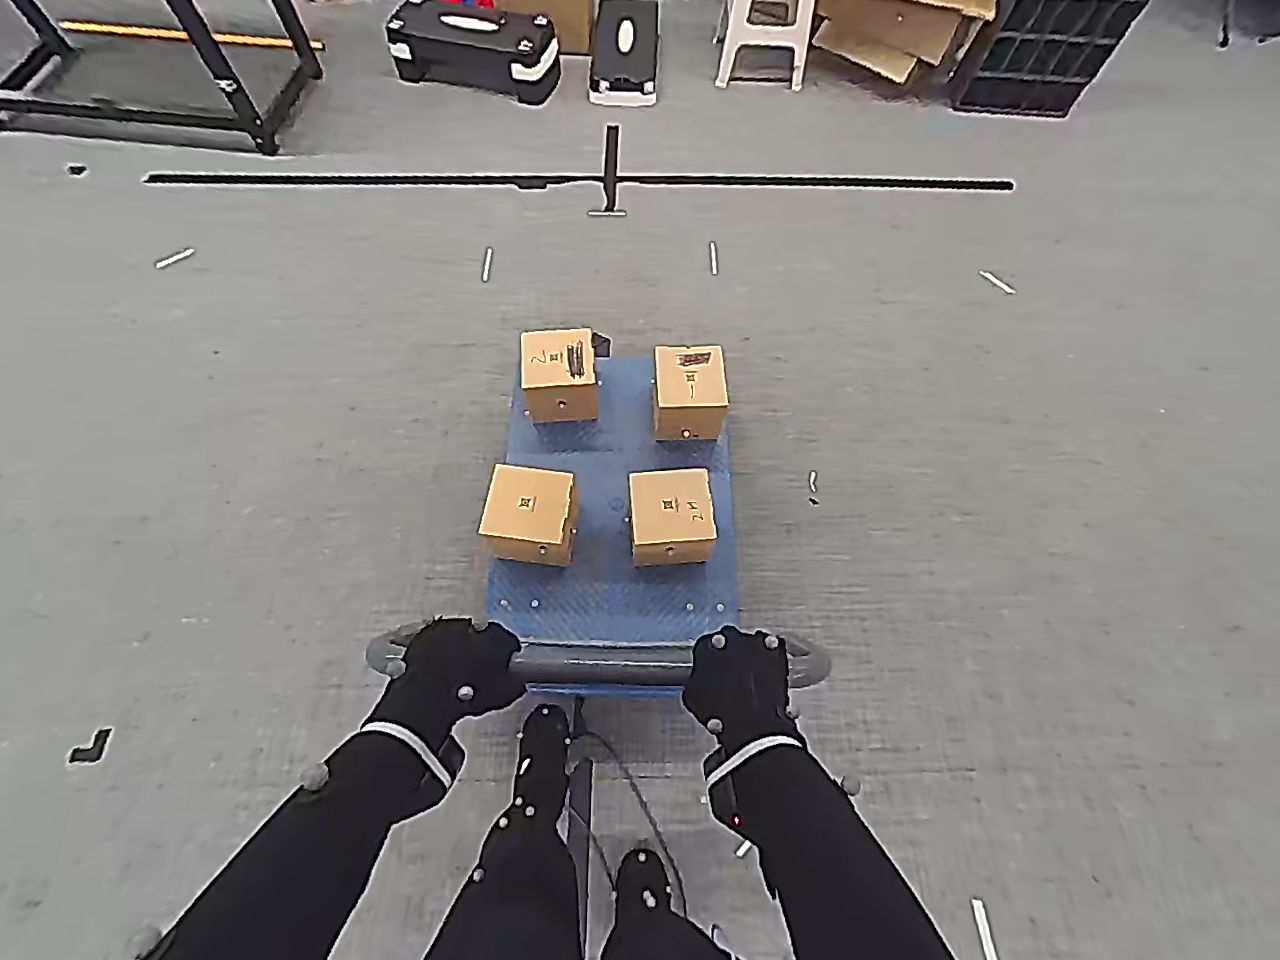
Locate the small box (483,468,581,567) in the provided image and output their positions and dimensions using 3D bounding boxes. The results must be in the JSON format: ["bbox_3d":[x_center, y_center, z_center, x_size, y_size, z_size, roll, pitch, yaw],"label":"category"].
[{"bbox_3d":[-0.235,0.090,1.226,0.179,0.176,0.168,8,65,0],"label":"small box"}]

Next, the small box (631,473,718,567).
[{"bbox_3d":[0.072,0.097,1.231,0.179,0.176,0.168,-3,66,-3],"label":"small box"}]

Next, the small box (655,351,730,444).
[{"bbox_3d":[0.127,-0.207,1.369,0.168,0.176,0.179,-1,67,-2],"label":"small box"}]
